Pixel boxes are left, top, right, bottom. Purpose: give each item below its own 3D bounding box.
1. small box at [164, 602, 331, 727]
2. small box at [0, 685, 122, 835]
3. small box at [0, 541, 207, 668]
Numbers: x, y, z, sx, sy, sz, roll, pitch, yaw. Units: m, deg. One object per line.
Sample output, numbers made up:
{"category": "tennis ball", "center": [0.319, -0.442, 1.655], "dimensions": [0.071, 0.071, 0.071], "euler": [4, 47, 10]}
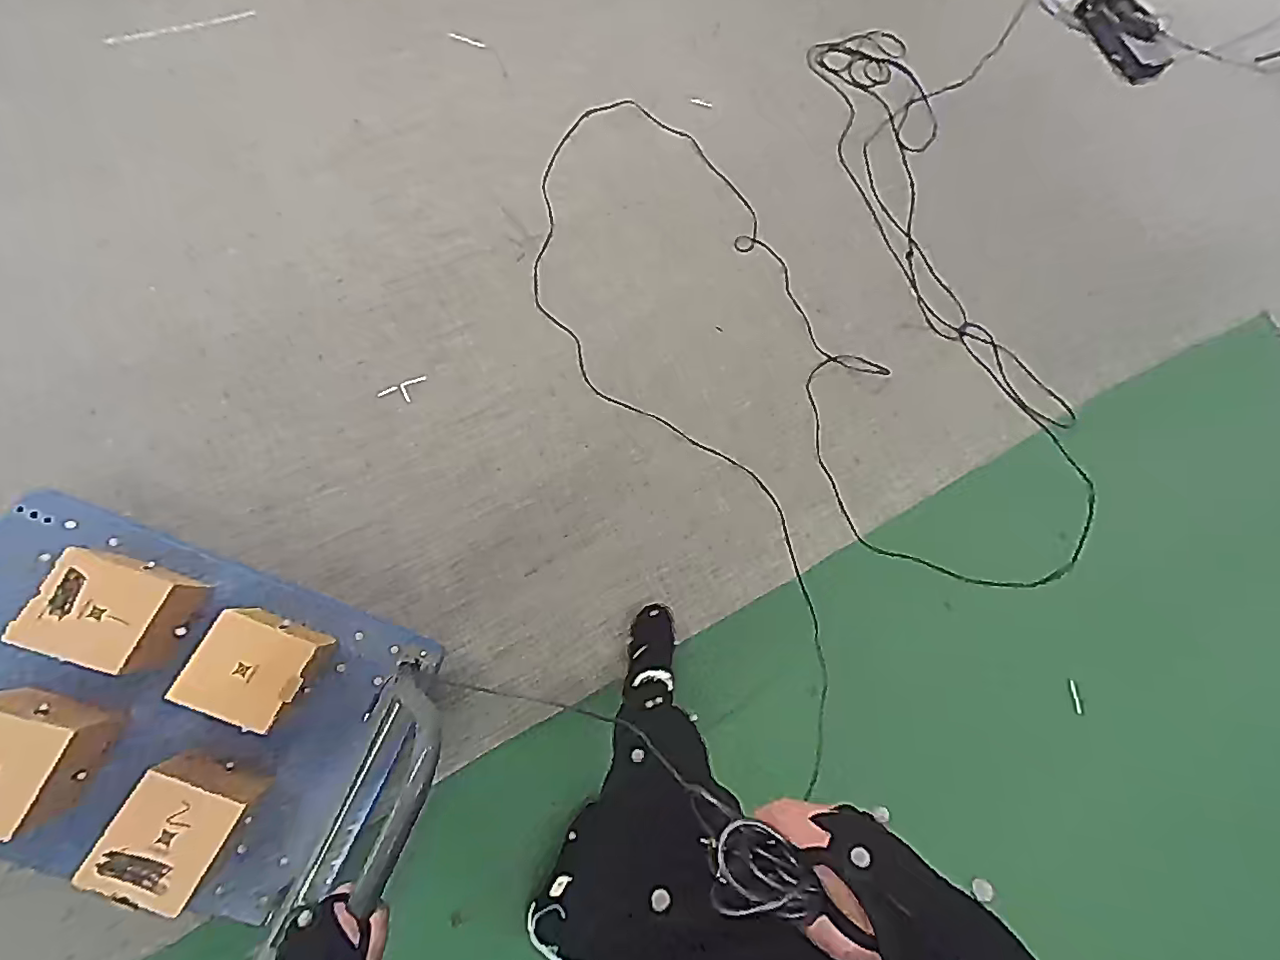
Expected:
{"category": "small box", "center": [-0.731, 0.346, 1.034], "dimensions": [0.179, 0.176, 0.168], "euler": [28, 70, -12]}
{"category": "small box", "center": [-1.039, 0.453, 0.901], "dimensions": [0.179, 0.176, 0.168], "euler": [23, 70, -13]}
{"category": "small box", "center": [-0.953, 0.226, 0.983], "dimensions": [0.179, 0.176, 0.168], "euler": [25, 71, -13]}
